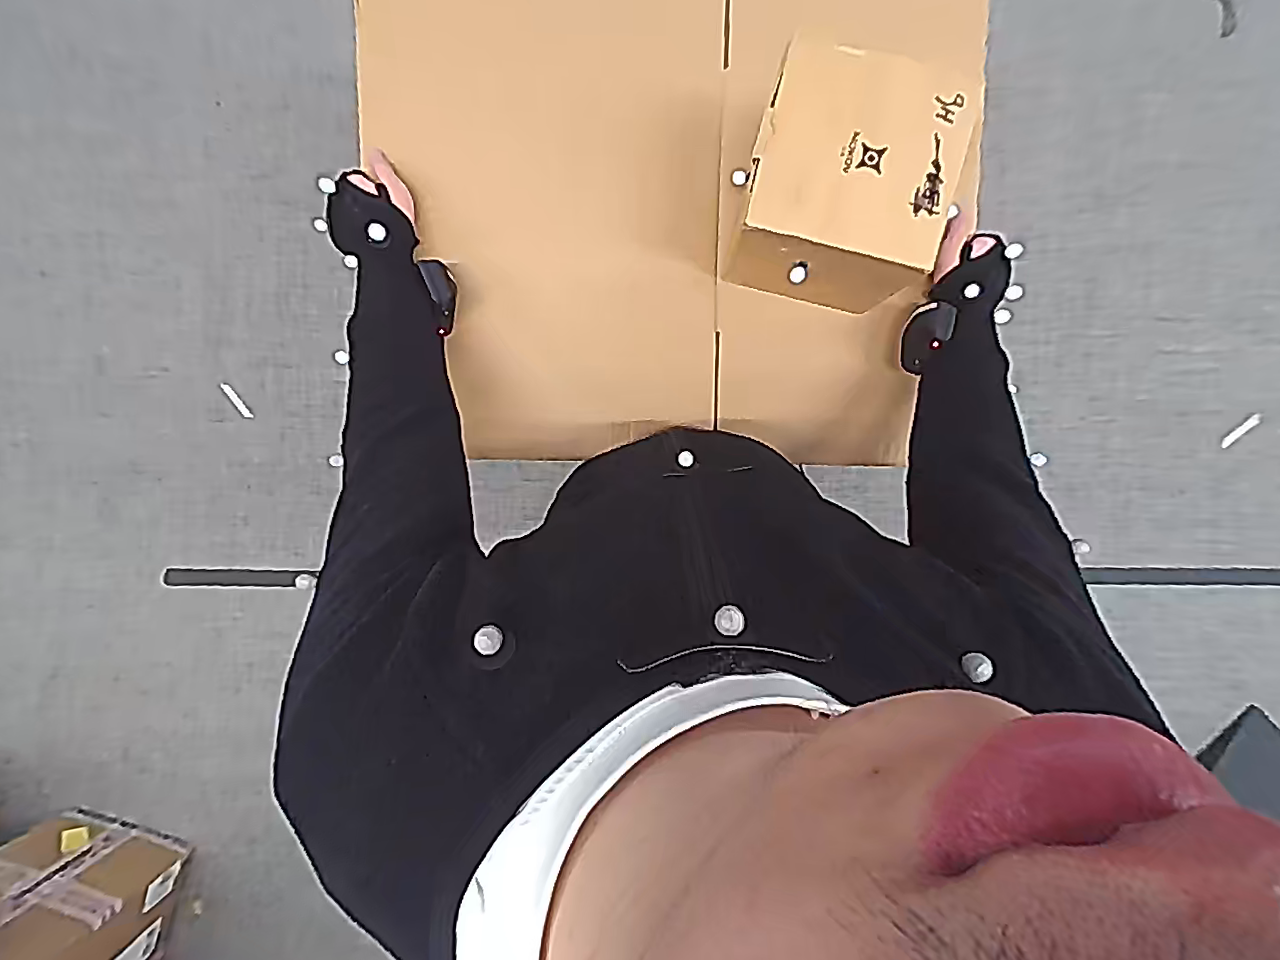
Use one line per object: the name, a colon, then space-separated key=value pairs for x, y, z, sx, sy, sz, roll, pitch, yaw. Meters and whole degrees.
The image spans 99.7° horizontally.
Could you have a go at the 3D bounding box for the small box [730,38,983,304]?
small box: x=0.200 y=-0.297 z=0.559 sx=0.179 sy=0.176 sz=0.168 roll=14 pitch=95 yaw=2
